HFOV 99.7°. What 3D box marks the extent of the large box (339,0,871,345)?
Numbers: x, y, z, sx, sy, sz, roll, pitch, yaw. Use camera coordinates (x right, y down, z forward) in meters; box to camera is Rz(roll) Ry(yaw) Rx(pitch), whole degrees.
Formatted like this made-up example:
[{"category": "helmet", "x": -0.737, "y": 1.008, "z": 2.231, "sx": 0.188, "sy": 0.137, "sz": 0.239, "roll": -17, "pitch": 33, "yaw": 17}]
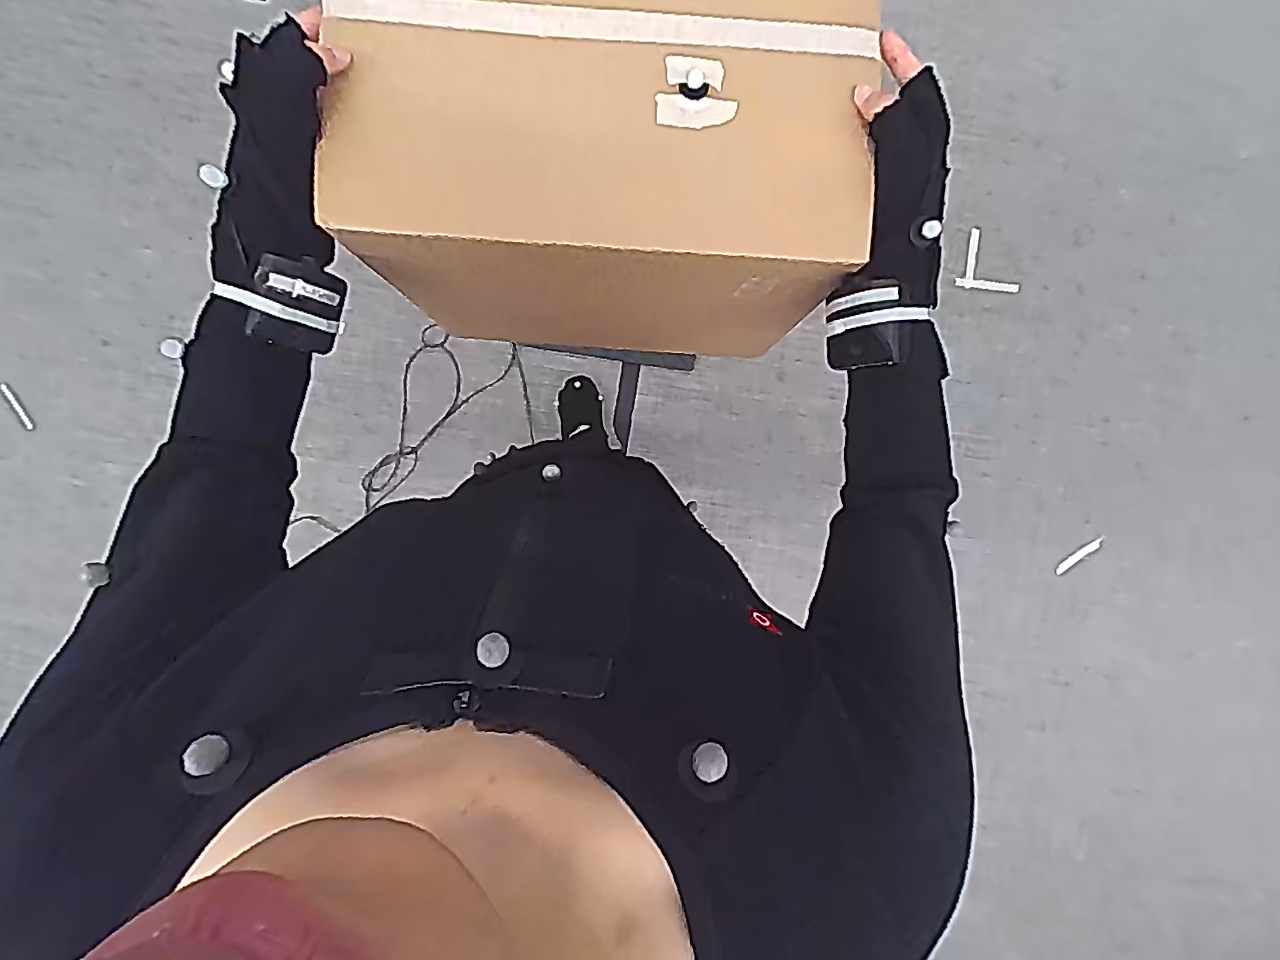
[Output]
[{"category": "large box", "x": -0.029, "y": -0.337, "z": 0.559, "sx": 0.408, "sy": 0.320, "sz": 0.320, "roll": 3, "pitch": 90, "yaw": -2}]
